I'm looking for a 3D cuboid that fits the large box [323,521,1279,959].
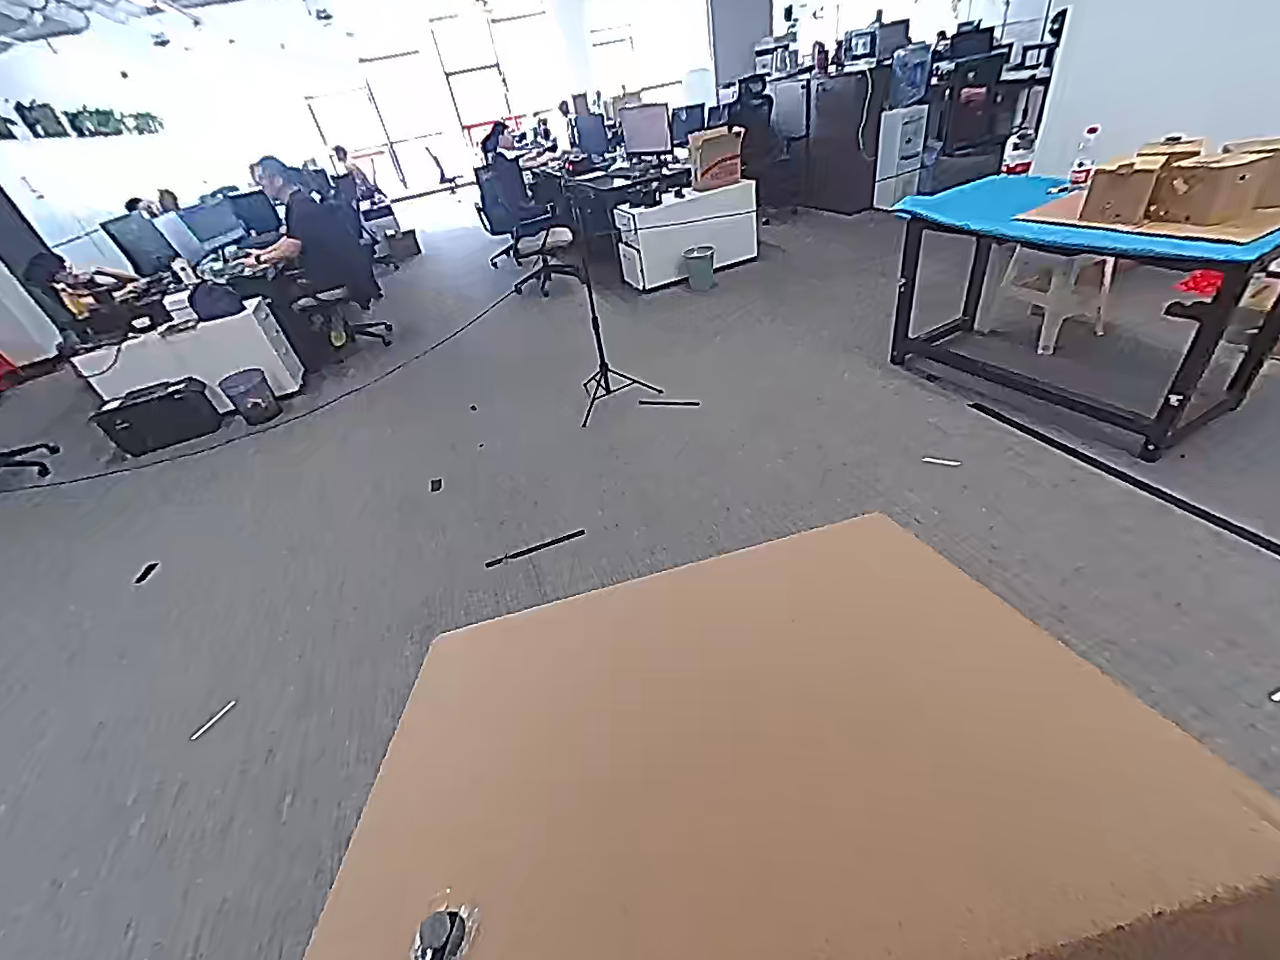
[{"bbox_3d":[0.072,0.270,0.384,0.408,0.320,0.320,-16,21,-1],"label":"large box"}]
